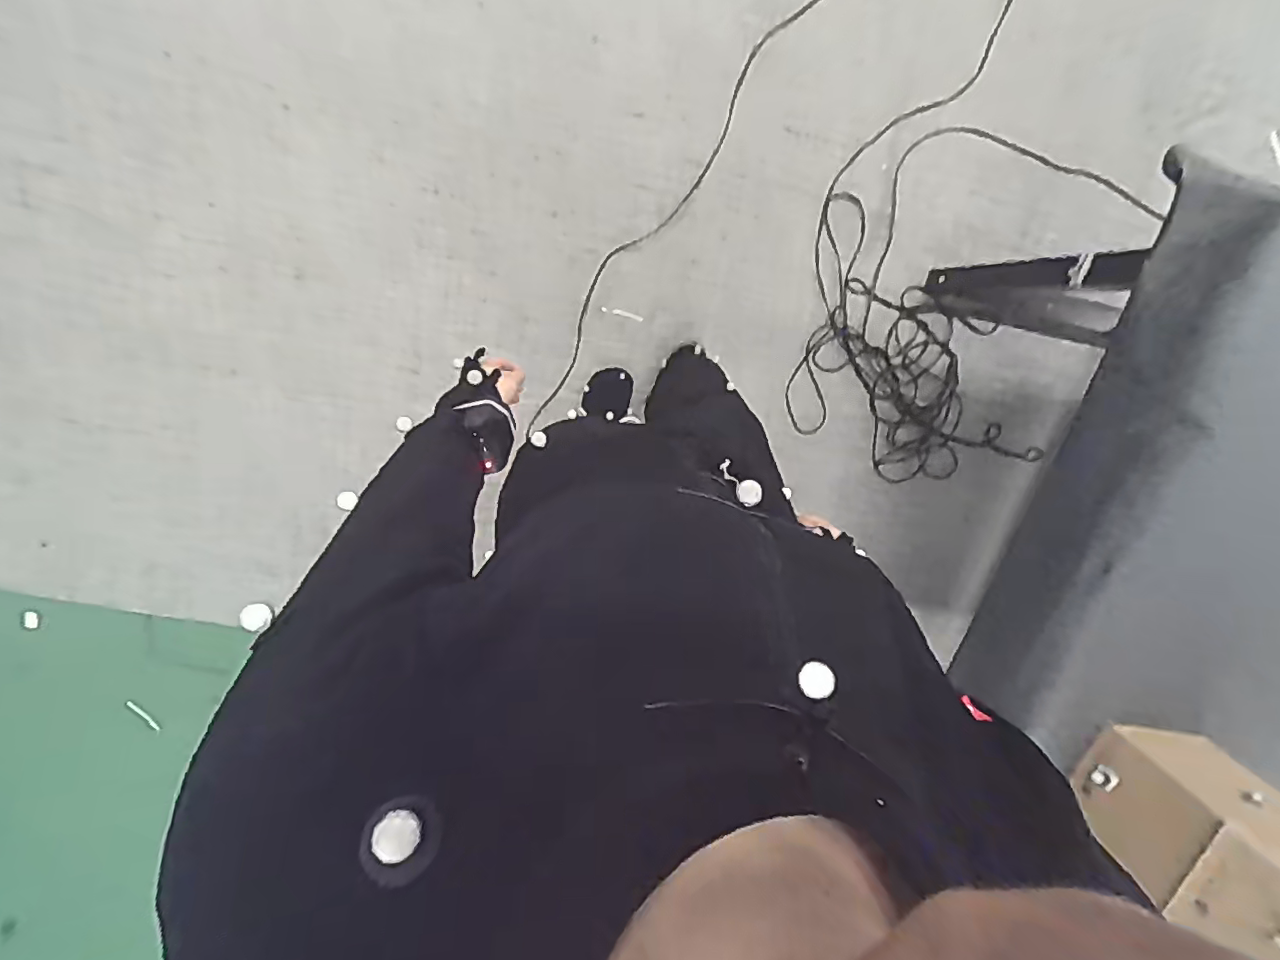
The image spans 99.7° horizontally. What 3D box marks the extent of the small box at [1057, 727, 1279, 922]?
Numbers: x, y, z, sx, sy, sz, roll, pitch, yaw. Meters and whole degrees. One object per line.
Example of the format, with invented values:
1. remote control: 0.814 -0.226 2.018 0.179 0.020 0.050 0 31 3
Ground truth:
1. small box: 0.745 0.471 0.746 0.179 0.176 0.168 12 106 -8

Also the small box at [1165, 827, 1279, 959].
1. small box: 0.751 0.516 0.590 0.179 0.176 0.168 10 106 -9
